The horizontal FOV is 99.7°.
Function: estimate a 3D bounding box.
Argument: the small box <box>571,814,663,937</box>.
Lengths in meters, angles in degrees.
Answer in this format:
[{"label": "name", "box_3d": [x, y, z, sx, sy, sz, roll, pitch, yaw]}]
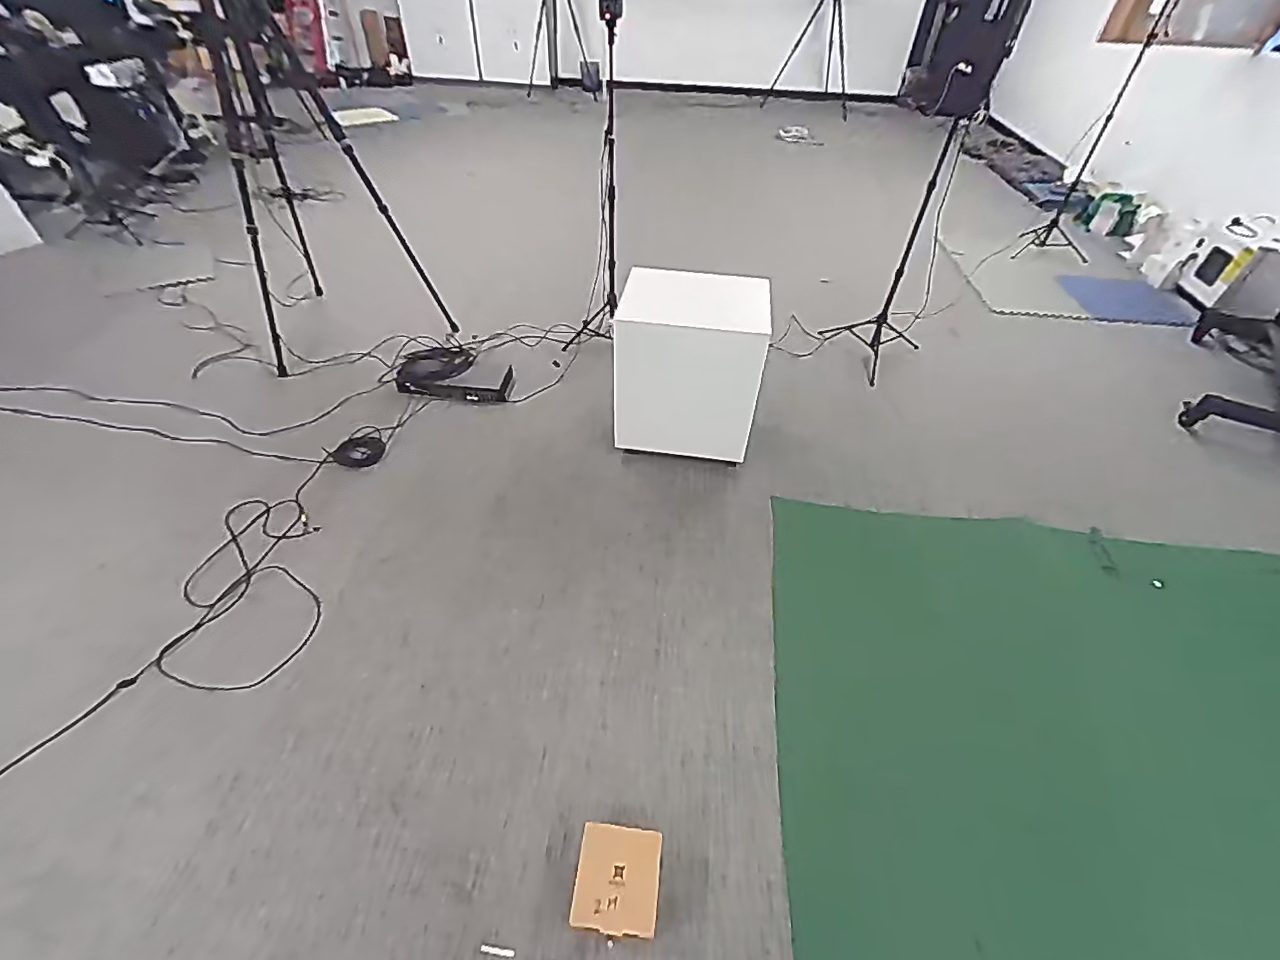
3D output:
[{"label": "small box", "box_3d": [-0.045, 0.840, 1.149, 0.168, 0.176, 0.179, 6, 46, 4]}]
